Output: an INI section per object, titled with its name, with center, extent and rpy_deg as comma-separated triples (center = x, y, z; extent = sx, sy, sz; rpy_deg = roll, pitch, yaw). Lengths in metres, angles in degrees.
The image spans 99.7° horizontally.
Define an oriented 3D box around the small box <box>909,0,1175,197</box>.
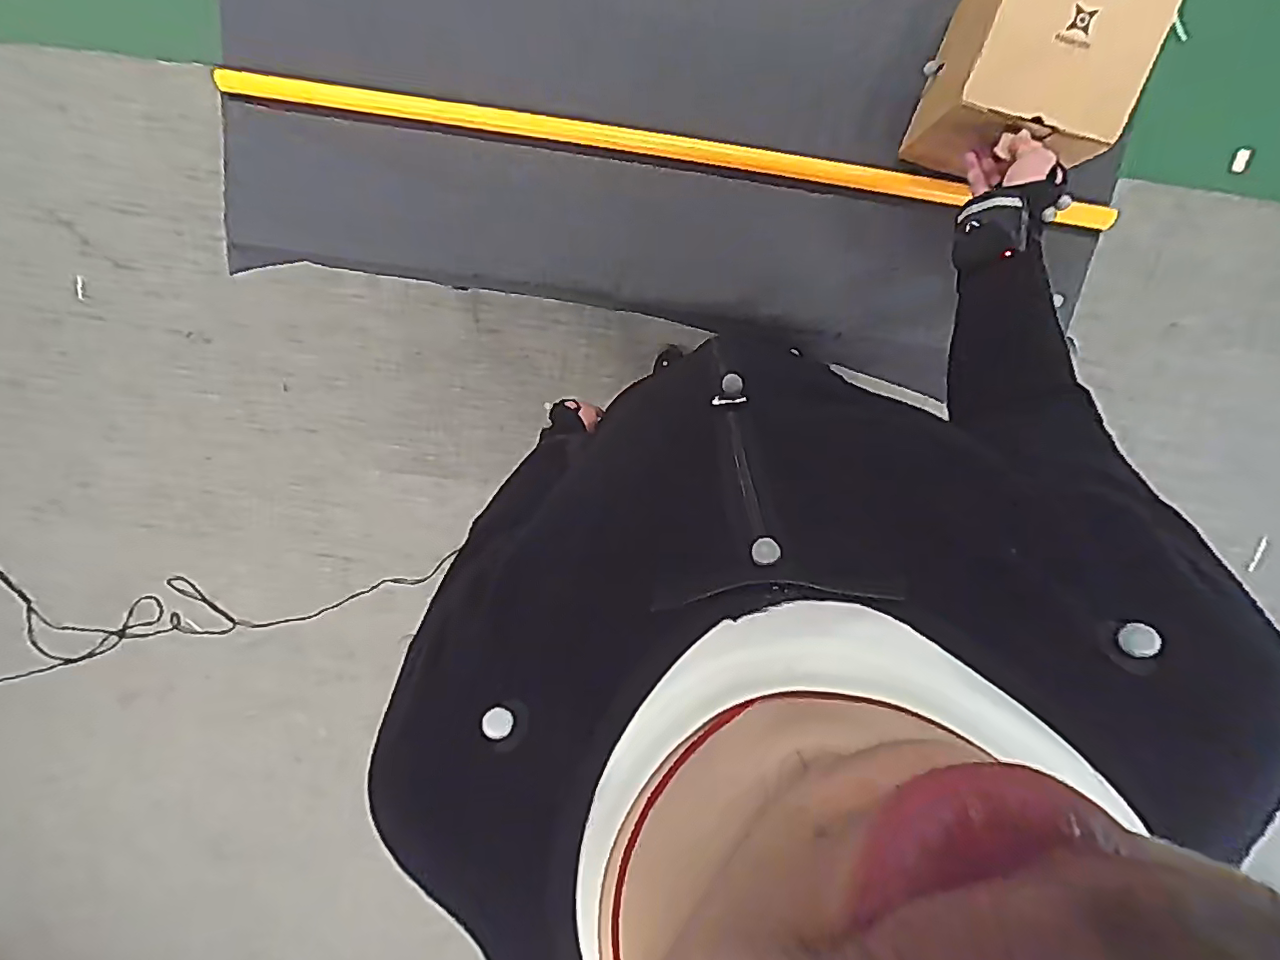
[small box]
center = 0.440, -0.454, 0.625
extent = 0.168, 0.176, 0.179
rpy_deg = 15, 103, 3
